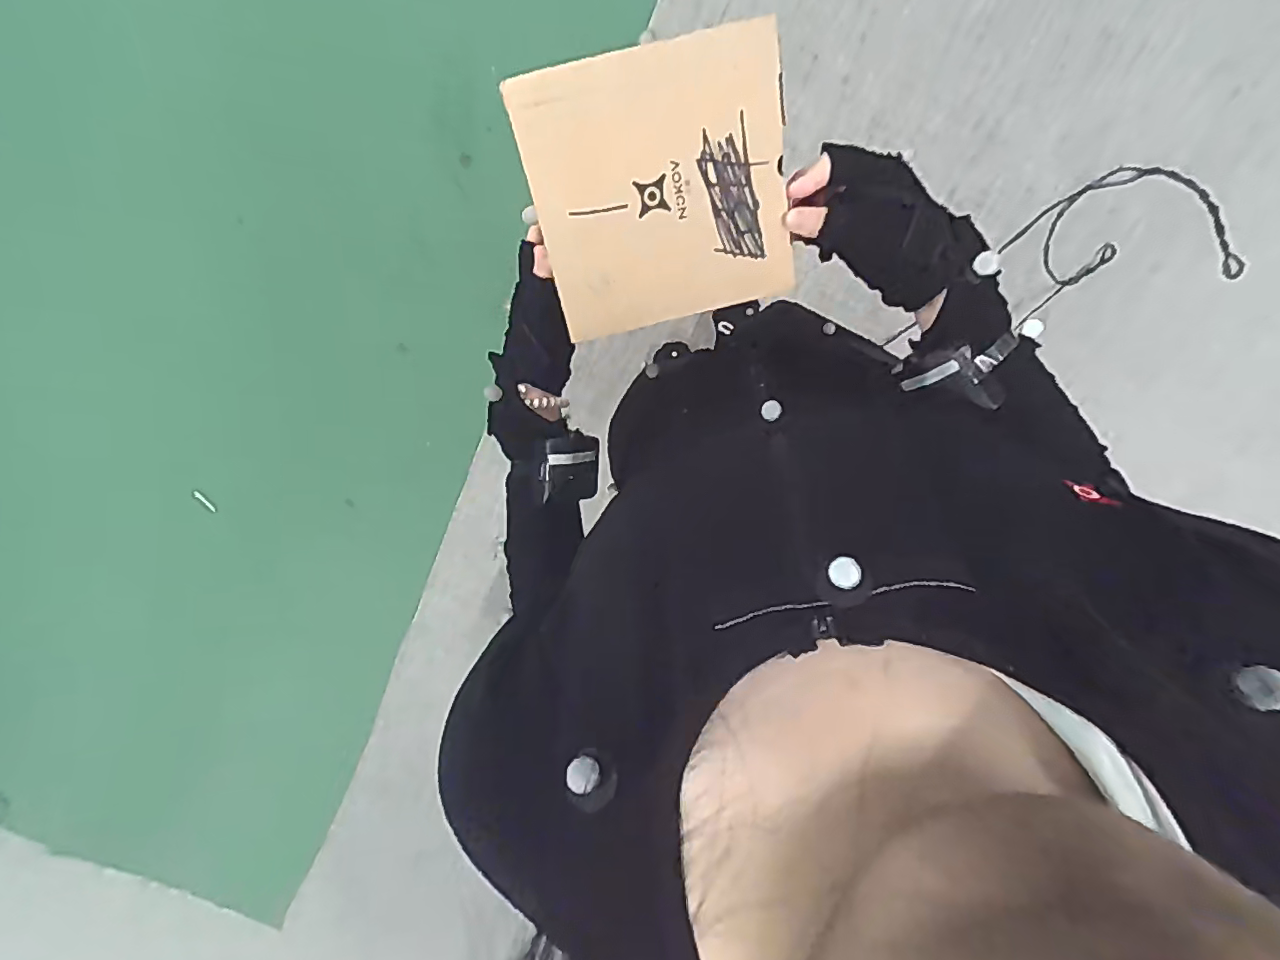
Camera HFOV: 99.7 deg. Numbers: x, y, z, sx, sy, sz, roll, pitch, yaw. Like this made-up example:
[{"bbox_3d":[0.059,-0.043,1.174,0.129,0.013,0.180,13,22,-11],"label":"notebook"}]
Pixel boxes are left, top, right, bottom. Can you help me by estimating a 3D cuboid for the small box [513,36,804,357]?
[{"bbox_3d":[0.012,-0.216,0.431,0.179,0.176,0.168,-14,118,0],"label":"small box"}]
